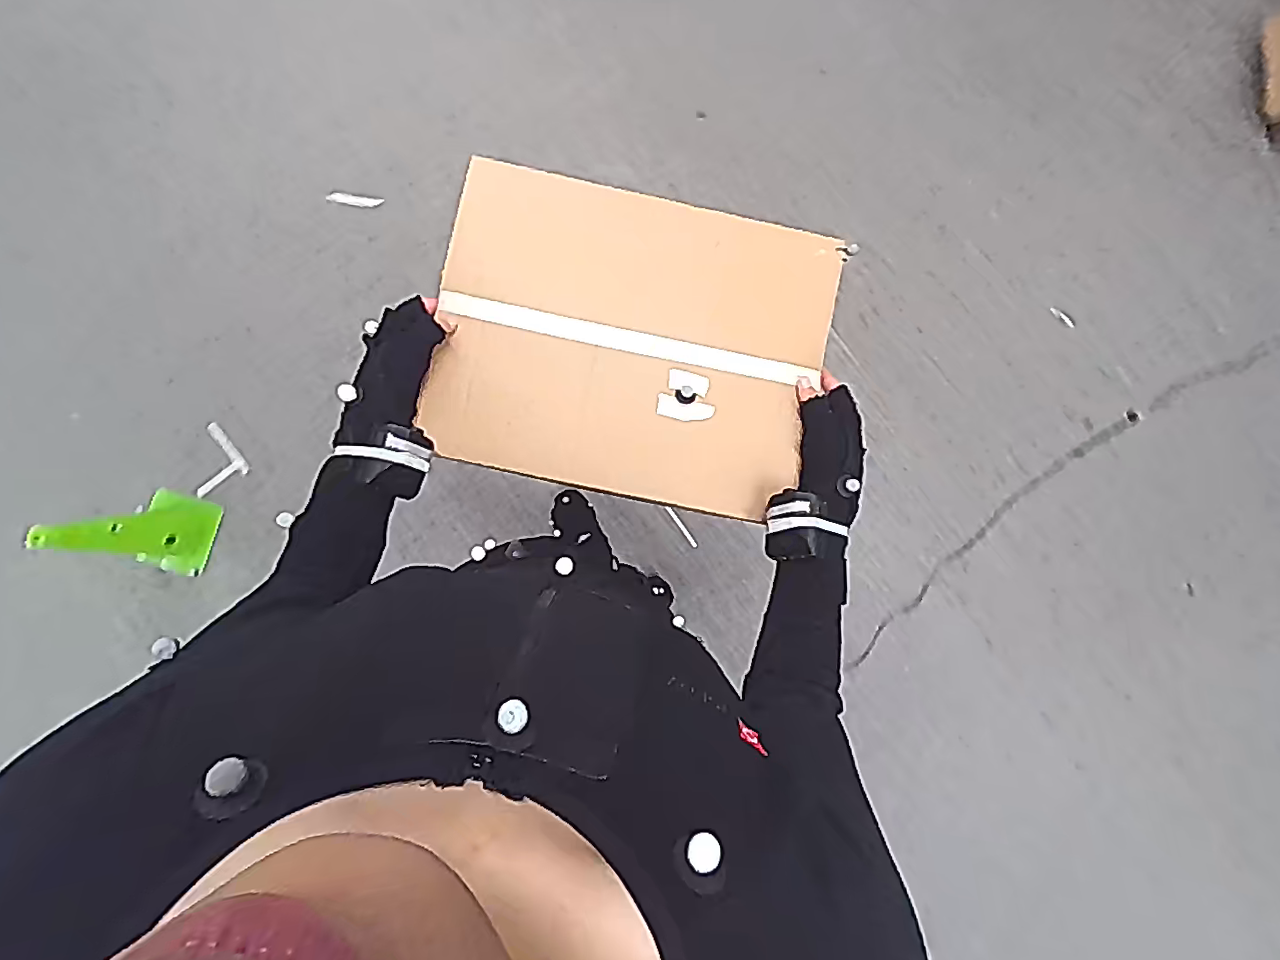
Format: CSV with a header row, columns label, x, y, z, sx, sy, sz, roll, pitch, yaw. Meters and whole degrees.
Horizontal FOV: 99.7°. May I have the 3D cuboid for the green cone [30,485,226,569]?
label,x,y,z,sx,sy,sz,roll,pitch,yaw
green cone,-1.261,0.115,1.320,0.202,0.368,0.200,16,86,3

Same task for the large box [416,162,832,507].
label,x,y,z,sx,sy,sz,roll,pitch,yaw
large box,-0.021,-0.148,0.717,0.408,0.320,0.320,11,88,-3
